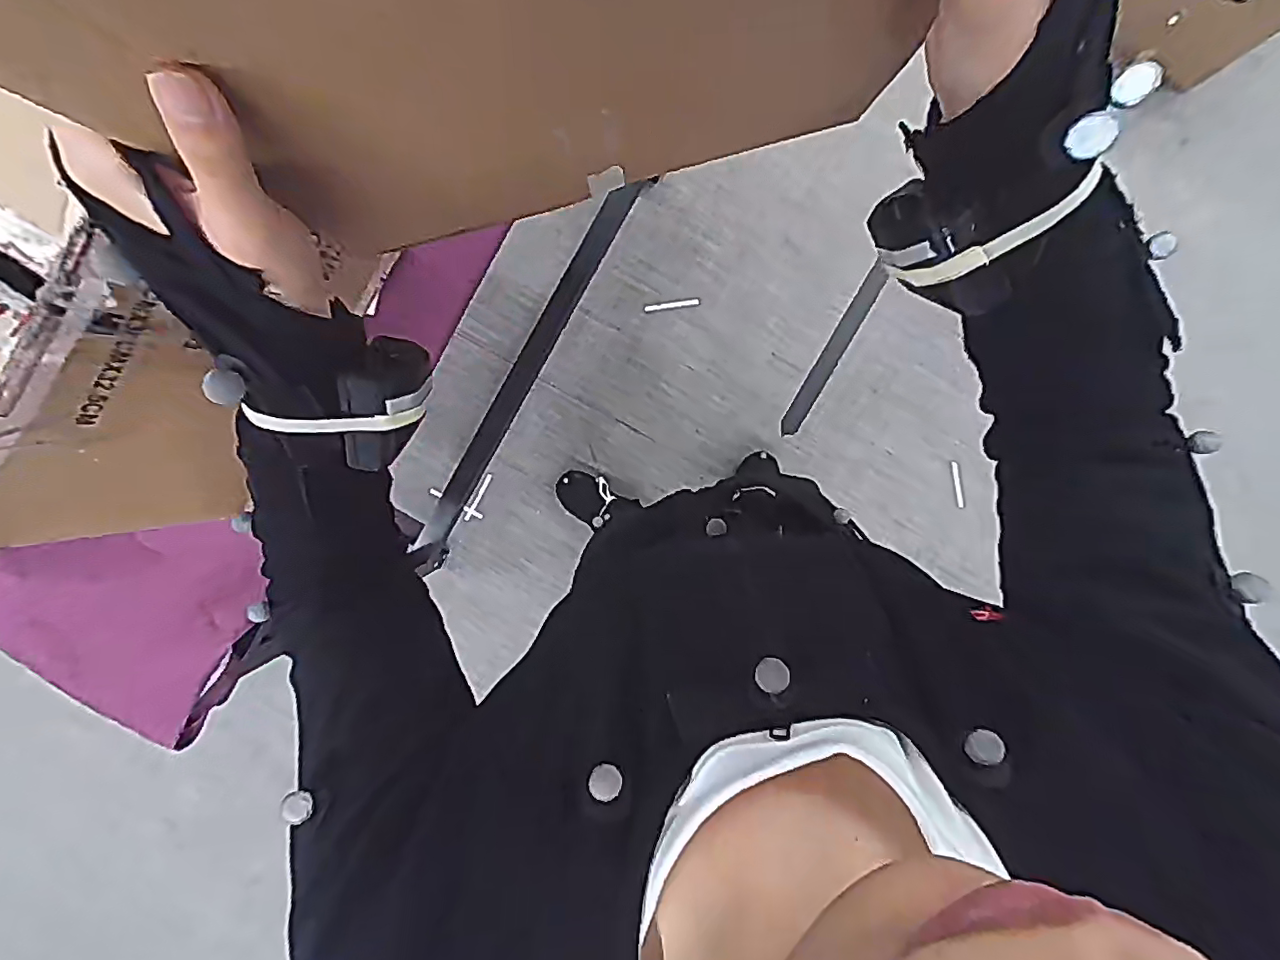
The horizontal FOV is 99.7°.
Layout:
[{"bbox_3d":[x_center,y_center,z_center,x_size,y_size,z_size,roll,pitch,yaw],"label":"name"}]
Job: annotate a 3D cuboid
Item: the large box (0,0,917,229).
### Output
[{"bbox_3d":[-0.070,-0.350,0.145,0.320,0.320,0.408,-15,100,5],"label":"large box"}]
